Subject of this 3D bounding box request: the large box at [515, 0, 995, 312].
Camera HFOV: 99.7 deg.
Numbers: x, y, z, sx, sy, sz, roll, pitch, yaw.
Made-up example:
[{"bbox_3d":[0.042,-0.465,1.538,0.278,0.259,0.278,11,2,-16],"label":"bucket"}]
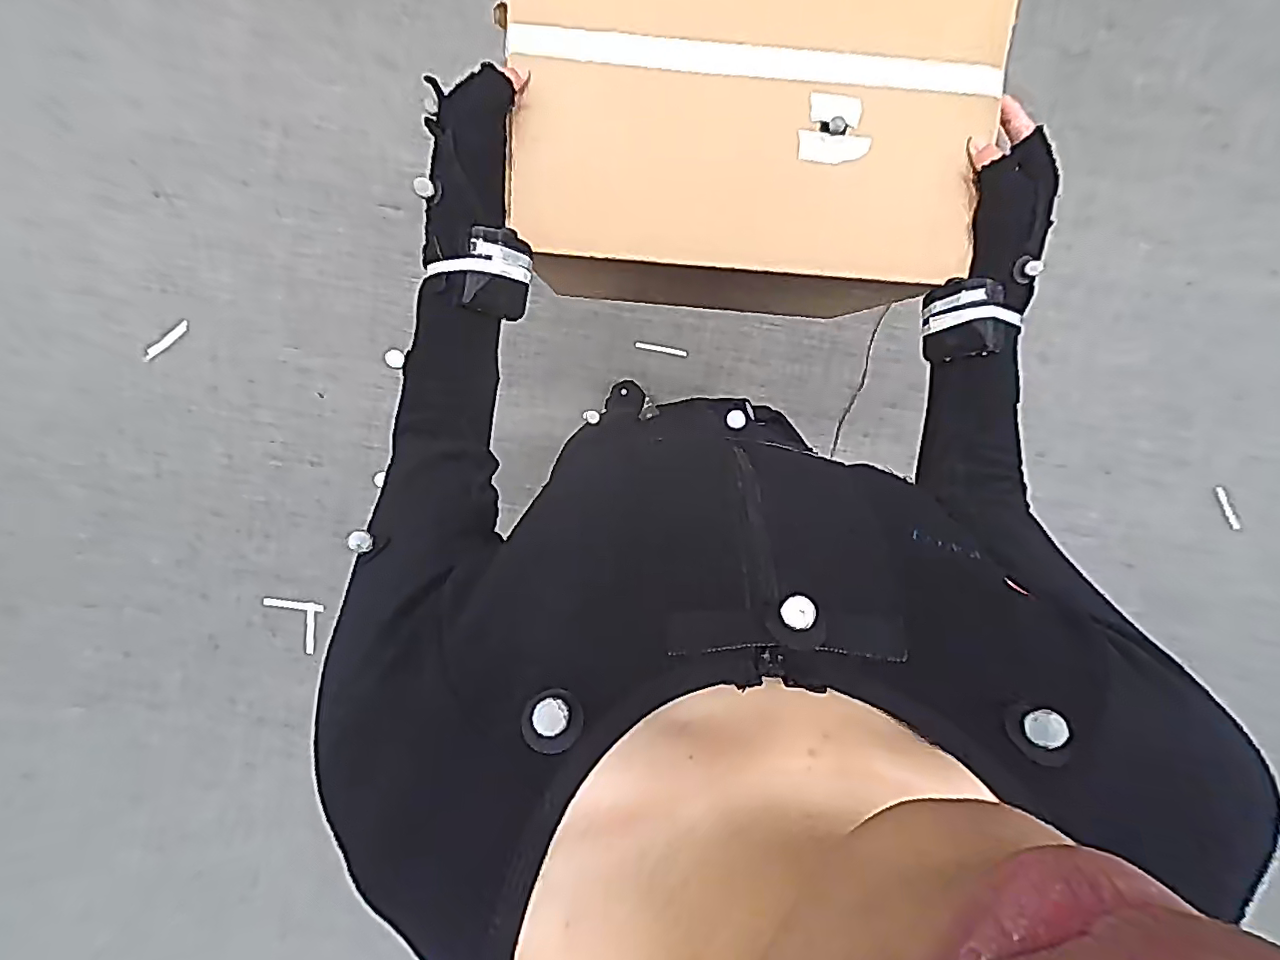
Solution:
[{"bbox_3d":[0.088,-0.372,0.603,0.408,0.320,0.320,3,102,-3],"label":"large box"}]
